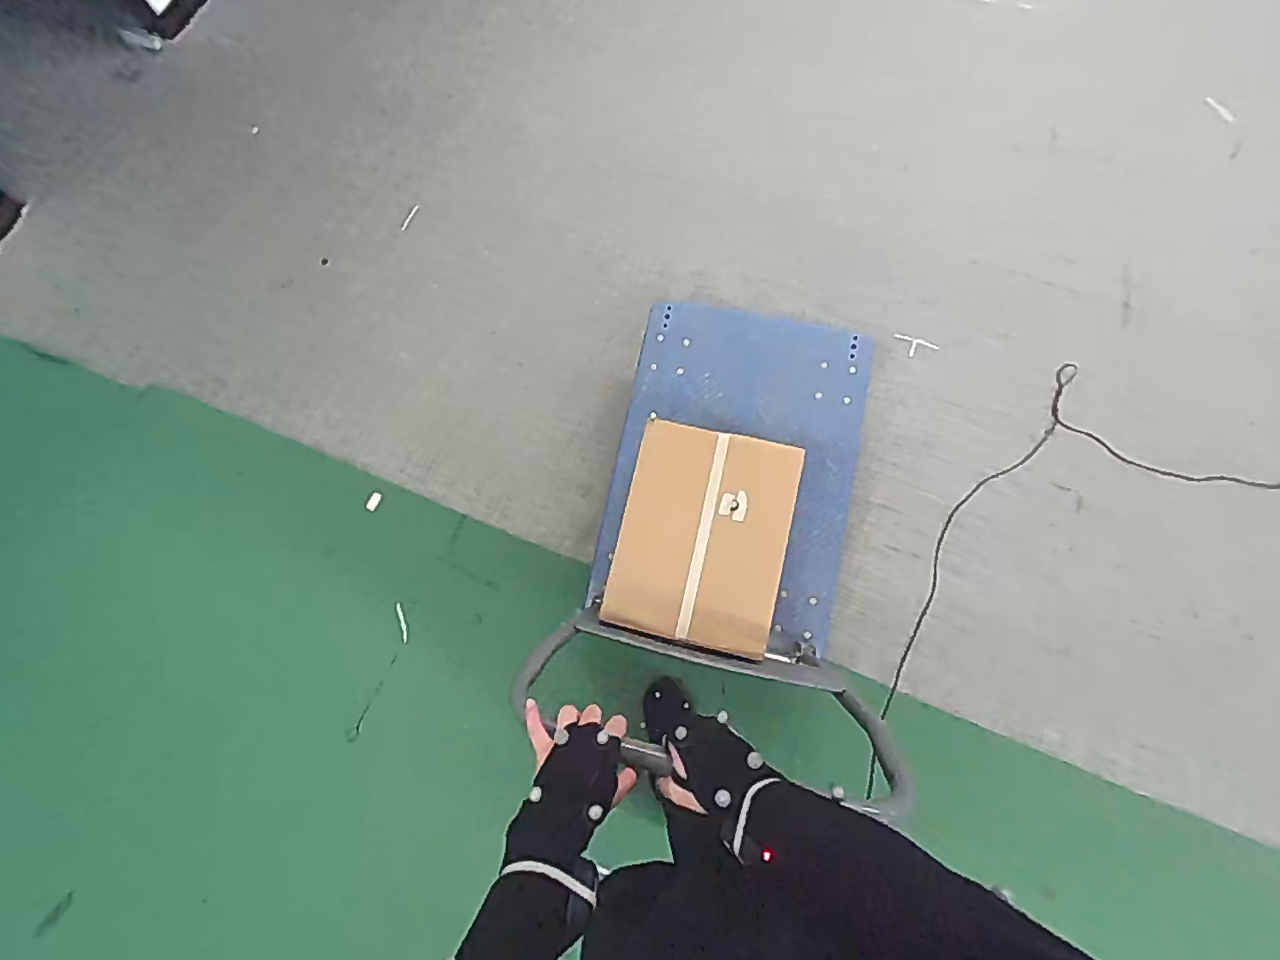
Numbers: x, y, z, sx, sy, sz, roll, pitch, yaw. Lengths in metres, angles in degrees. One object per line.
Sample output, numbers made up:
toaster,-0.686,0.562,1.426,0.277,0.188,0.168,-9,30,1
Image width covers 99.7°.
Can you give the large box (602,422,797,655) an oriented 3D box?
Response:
large box,0.131,0.131,1.179,0.320,0.320,0.408,12,81,7
